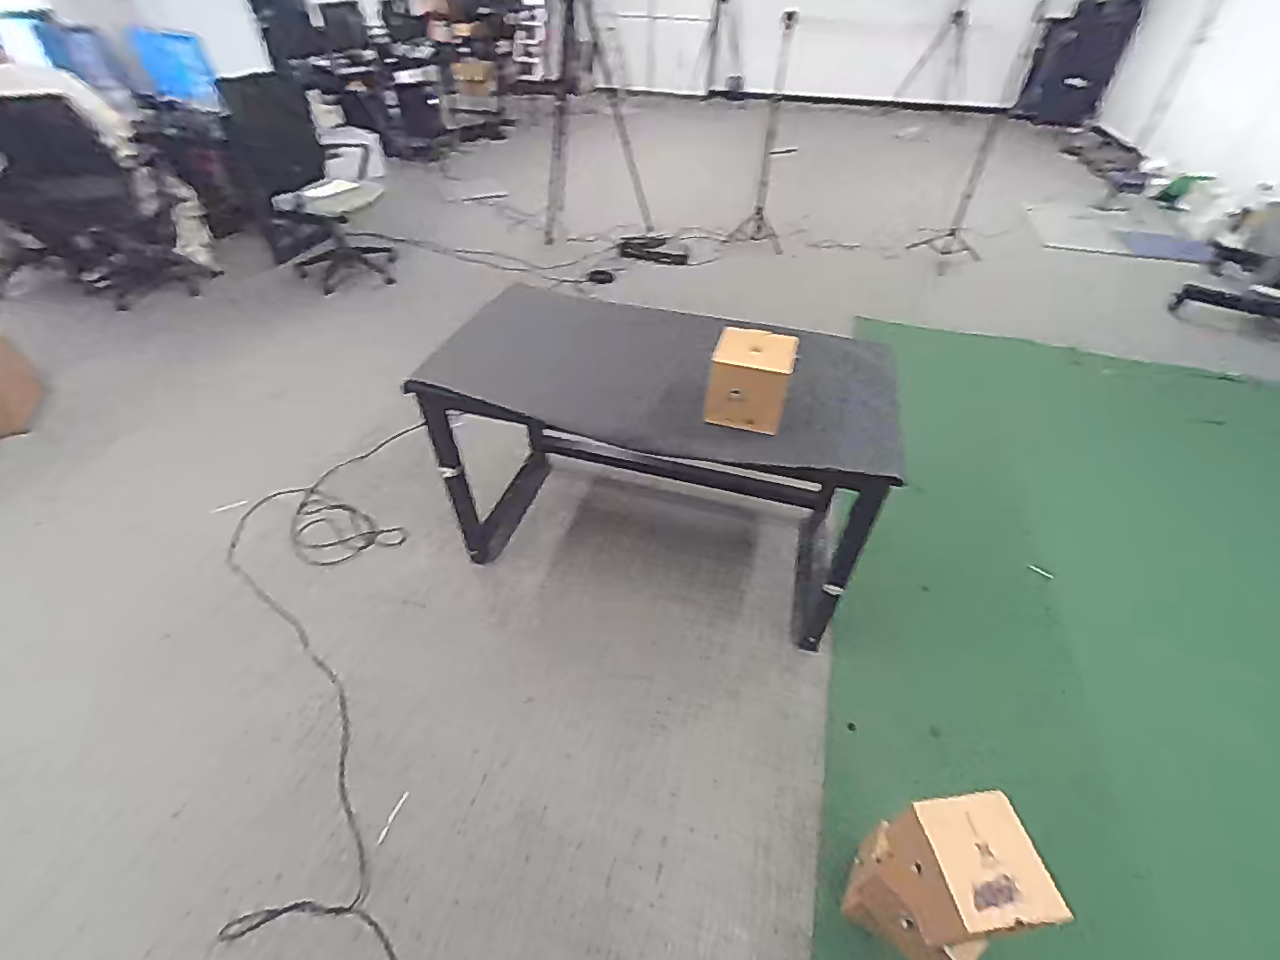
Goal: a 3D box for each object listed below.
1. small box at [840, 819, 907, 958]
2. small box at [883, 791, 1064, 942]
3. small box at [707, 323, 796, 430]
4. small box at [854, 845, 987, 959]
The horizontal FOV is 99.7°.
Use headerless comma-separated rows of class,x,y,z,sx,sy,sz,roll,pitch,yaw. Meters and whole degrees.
small box,0.548,0.872,1.147,0.179,0.176,0.168,25,50,23
small box,0.540,0.650,0.906,0.168,0.176,0.179,-4,43,-4
small box,0.253,-0.236,1.245,0.168,0.176,0.179,12,43,12
small box,0.535,0.774,1.014,0.168,0.176,0.179,-27,51,-24
